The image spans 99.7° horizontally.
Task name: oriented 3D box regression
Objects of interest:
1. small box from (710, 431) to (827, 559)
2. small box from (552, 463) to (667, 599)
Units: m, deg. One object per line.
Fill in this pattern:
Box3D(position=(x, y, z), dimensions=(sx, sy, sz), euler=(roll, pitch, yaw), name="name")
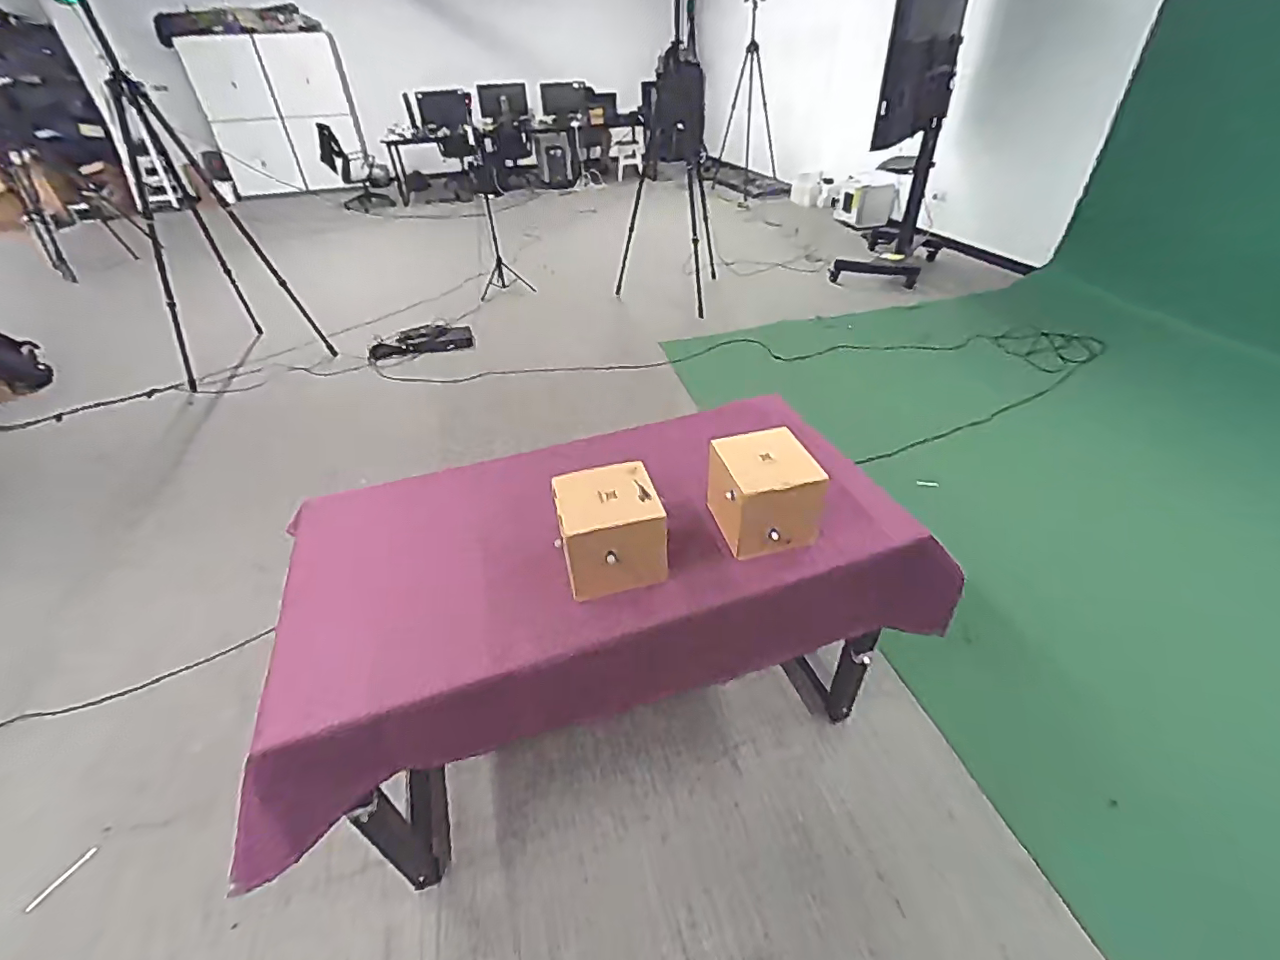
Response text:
Box3D(position=(0.242, 0.028, 1.071), dimensions=(0.168, 0.176, 0.179), euler=(-11, 39, -9), name="small box")
Box3D(position=(-0.054, 0.096, 1.003), dimensions=(0.179, 0.176, 0.168), euler=(-12, 39, -10), name="small box")
